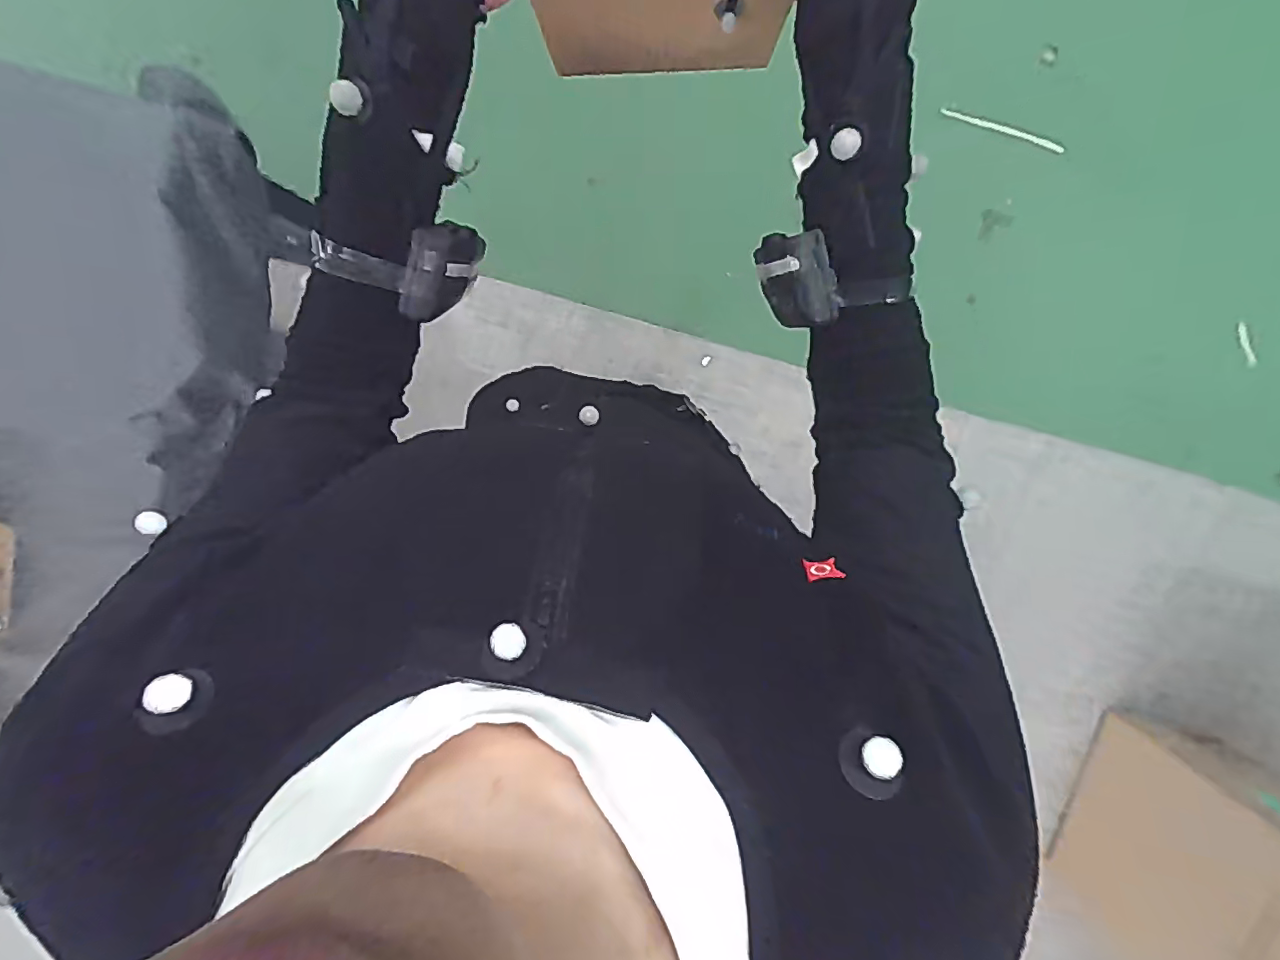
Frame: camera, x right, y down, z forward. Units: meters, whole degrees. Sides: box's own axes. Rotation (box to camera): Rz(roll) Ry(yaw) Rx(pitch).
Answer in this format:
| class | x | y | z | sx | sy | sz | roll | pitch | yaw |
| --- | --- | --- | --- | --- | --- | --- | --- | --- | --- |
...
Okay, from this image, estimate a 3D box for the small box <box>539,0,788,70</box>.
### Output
| class | x | y | z | sx | sy | sz | roll | pitch | yaw |
| --- | --- | --- | --- | --- | --- | --- | --- | --- | --- |
| small box | 0.017 | -0.398 | 0.347 | 0.179 | 0.176 | 0.168 | -1 | 103 | 3 |
